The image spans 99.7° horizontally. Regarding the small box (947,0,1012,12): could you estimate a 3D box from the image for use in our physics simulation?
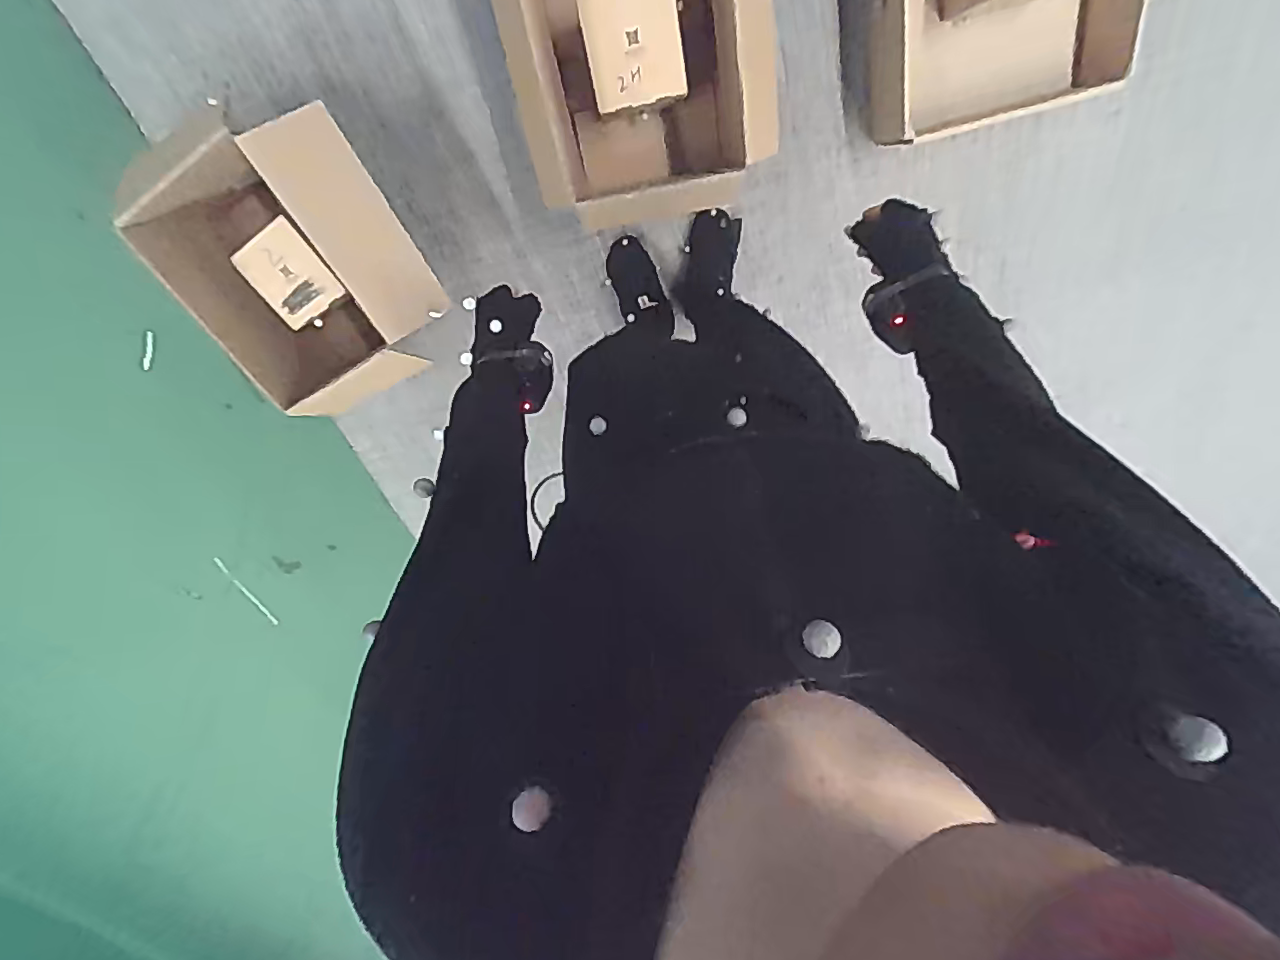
[{"bbox_3d":[0.635,-0.917,0.898,0.168,0.176,0.179,-10,118,5],"label":"small box"}]
